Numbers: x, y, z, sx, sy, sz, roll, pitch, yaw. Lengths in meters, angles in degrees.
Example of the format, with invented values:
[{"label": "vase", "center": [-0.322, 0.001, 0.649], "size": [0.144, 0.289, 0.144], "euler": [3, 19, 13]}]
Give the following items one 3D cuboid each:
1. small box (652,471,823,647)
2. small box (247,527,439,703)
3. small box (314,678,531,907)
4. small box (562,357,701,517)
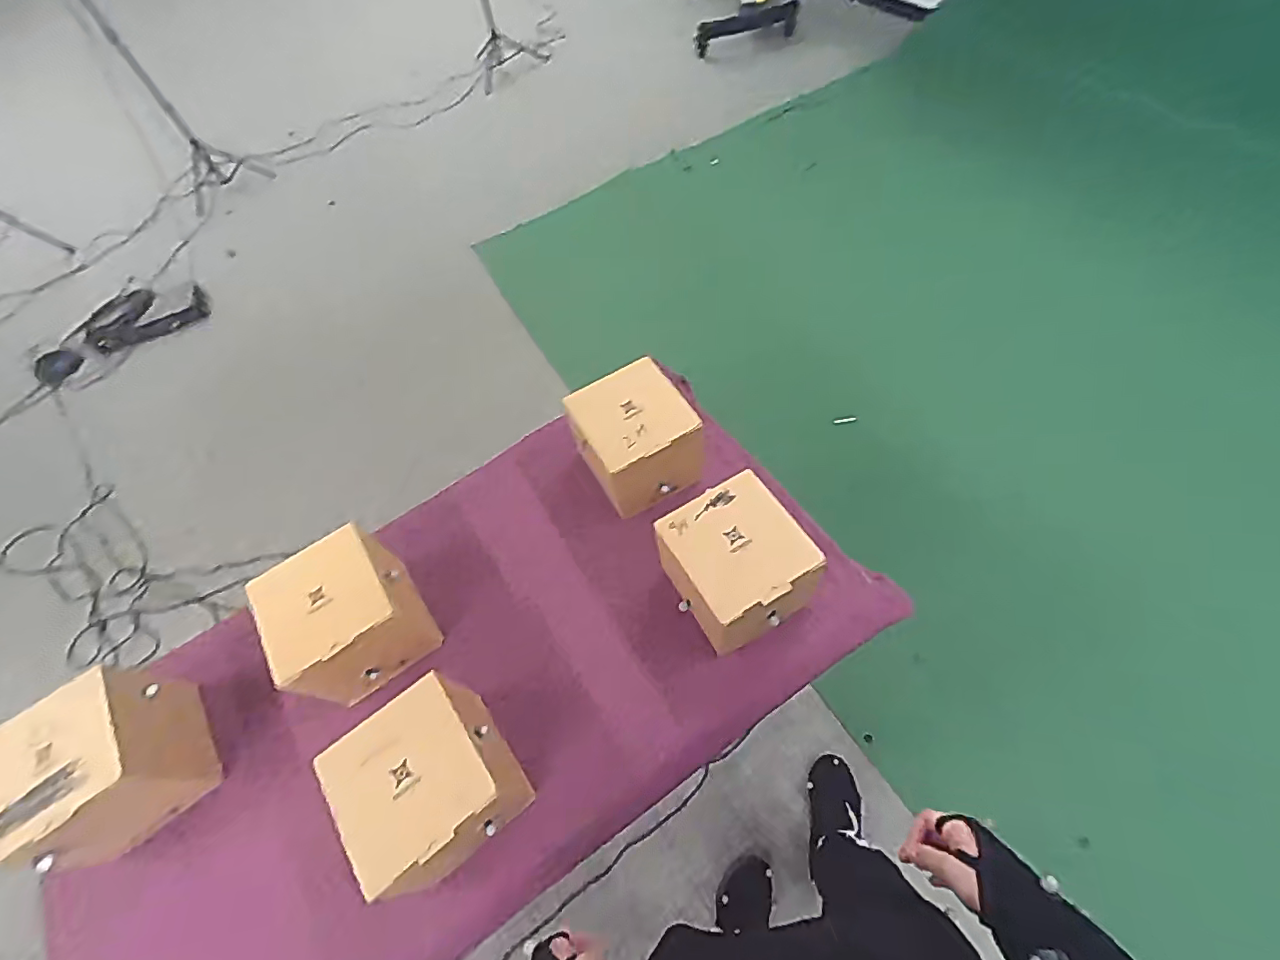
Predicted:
[{"label": "small box", "center": [0.137, 0.126, 0.792], "size": [0.168, 0.176, 0.179], "euler": [-29, 60, -9]}, {"label": "small box", "center": [-0.439, 0.209, 0.817], "size": [0.168, 0.176, 0.179], "euler": [-34, 63, -13]}, {"label": "small box", "center": [-0.265, 0.388, 0.691], "size": [0.168, 0.176, 0.179], "euler": [-36, 61, -14]}, {"label": "small box", "center": [-0.011, -0.068, 0.923], "size": [0.168, 0.176, 0.179], "euler": [-30, 61, -9]}]
